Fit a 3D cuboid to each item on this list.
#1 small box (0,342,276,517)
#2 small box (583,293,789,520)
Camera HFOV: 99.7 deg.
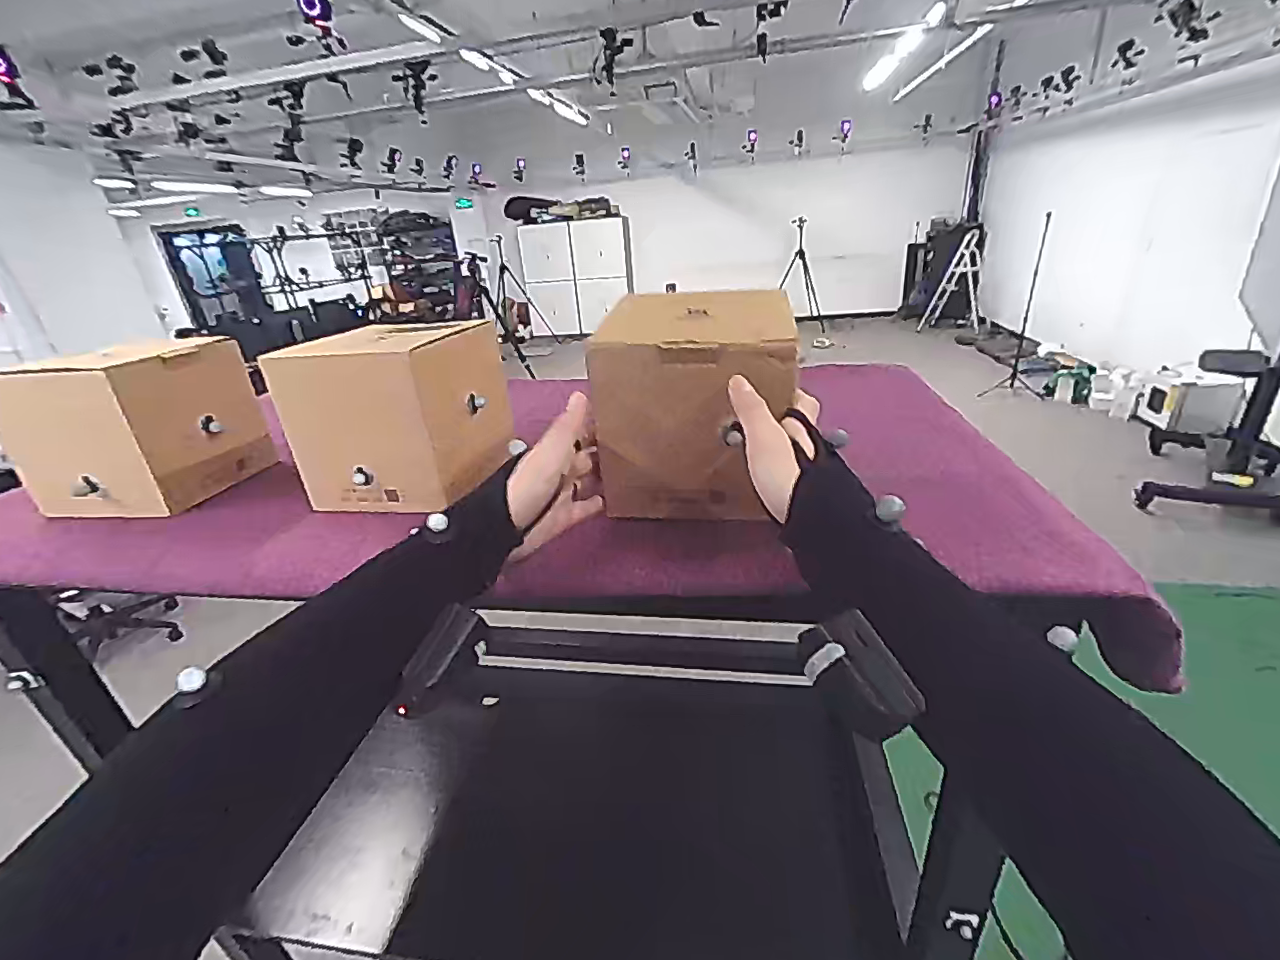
[{"bbox_3d":[-0.590,-0.063,0.651,0.179,0.176,0.168,-1,24,8],"label":"small box"},{"bbox_3d":[0.055,-0.074,0.526,0.168,0.176,0.179,1,30,11],"label":"small box"}]
